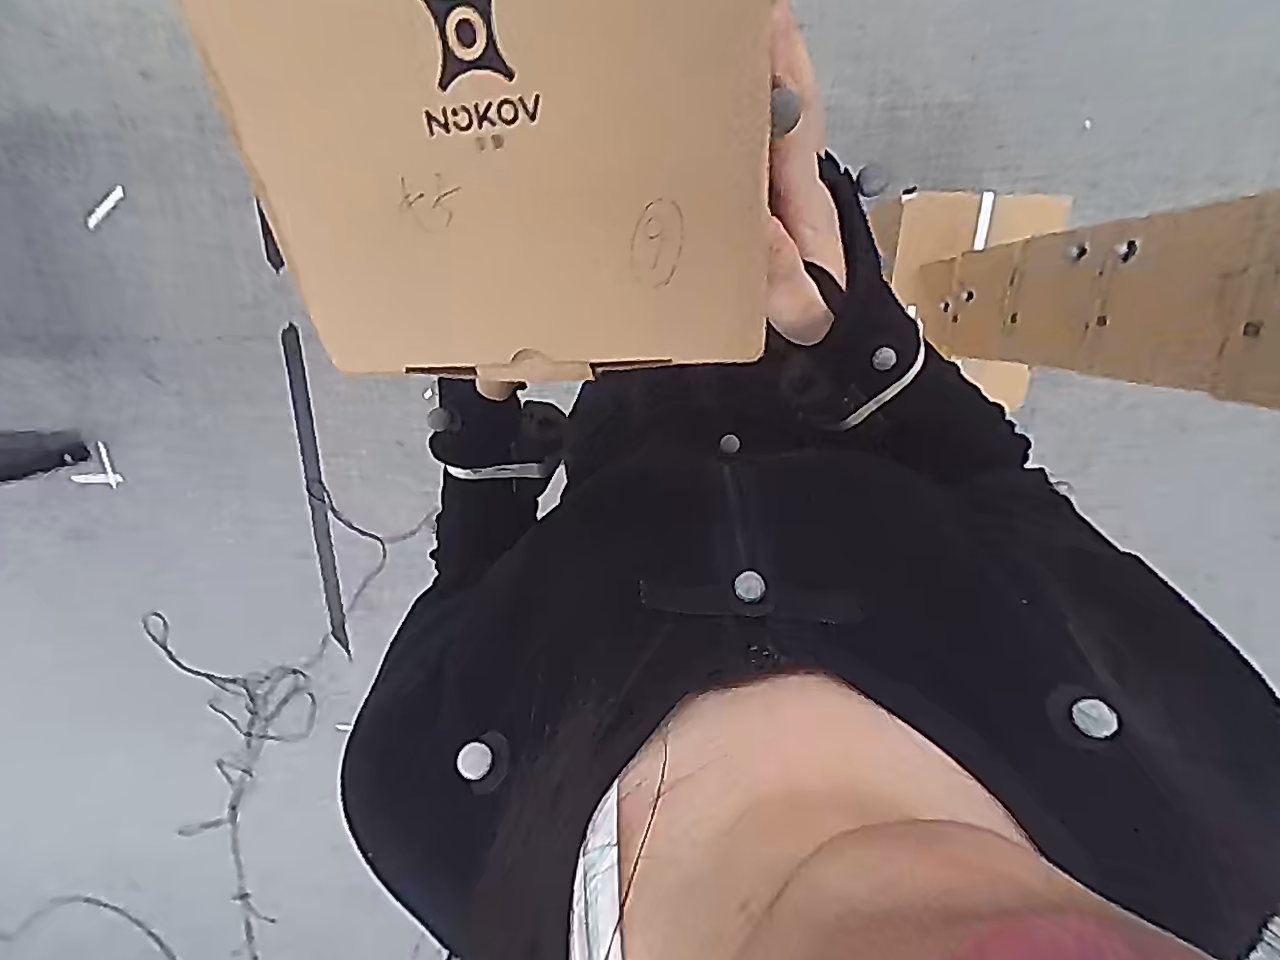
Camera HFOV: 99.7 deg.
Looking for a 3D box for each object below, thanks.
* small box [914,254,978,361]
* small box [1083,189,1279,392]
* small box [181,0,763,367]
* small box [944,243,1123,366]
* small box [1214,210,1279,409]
[{"bbox_3d":[0.627,-0.314,0.993,0.168,0.176,0.179,0,108,3],"label":"small box"},{"bbox_3d":[0.591,-0.172,0.525,0.179,0.176,0.168,3,108,2],"label":"small box"},{"bbox_3d":[-0.035,-0.160,0.220,0.168,0.176,0.179,0,122,11],"label":"small box"},{"bbox_3d":[0.612,-0.270,0.838,0.179,0.176,0.168,1,107,4],"label":"small box"},{"bbox_3d":[0.580,-0.123,0.368,0.179,0.176,0.168,1,107,4],"label":"small box"}]
